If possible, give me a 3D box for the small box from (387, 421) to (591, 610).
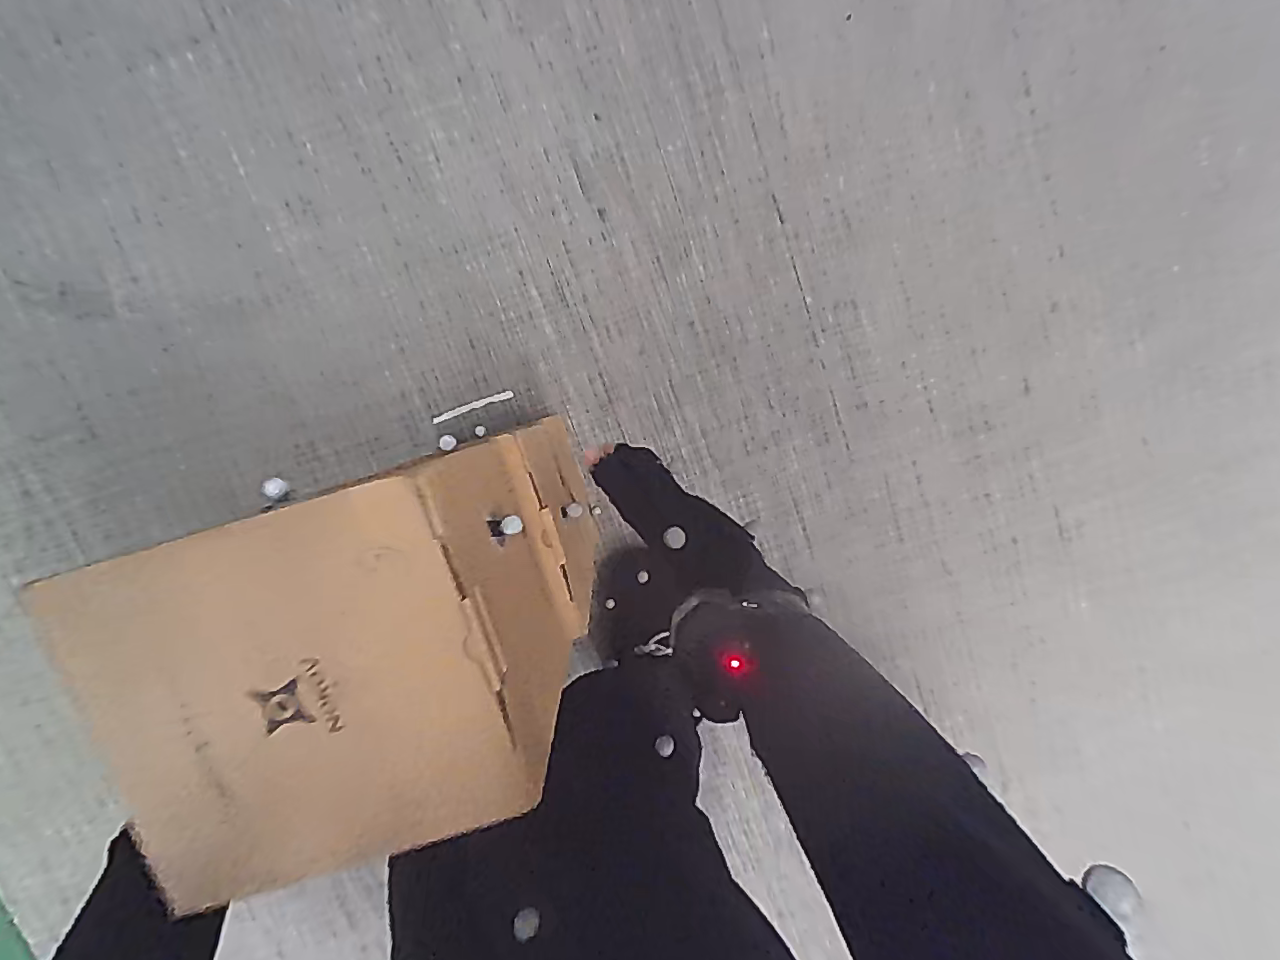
[{"bbox_3d":[-0.160,0.029,0.639,0.179,0.176,0.168,-15,97,0],"label":"small box"}]
